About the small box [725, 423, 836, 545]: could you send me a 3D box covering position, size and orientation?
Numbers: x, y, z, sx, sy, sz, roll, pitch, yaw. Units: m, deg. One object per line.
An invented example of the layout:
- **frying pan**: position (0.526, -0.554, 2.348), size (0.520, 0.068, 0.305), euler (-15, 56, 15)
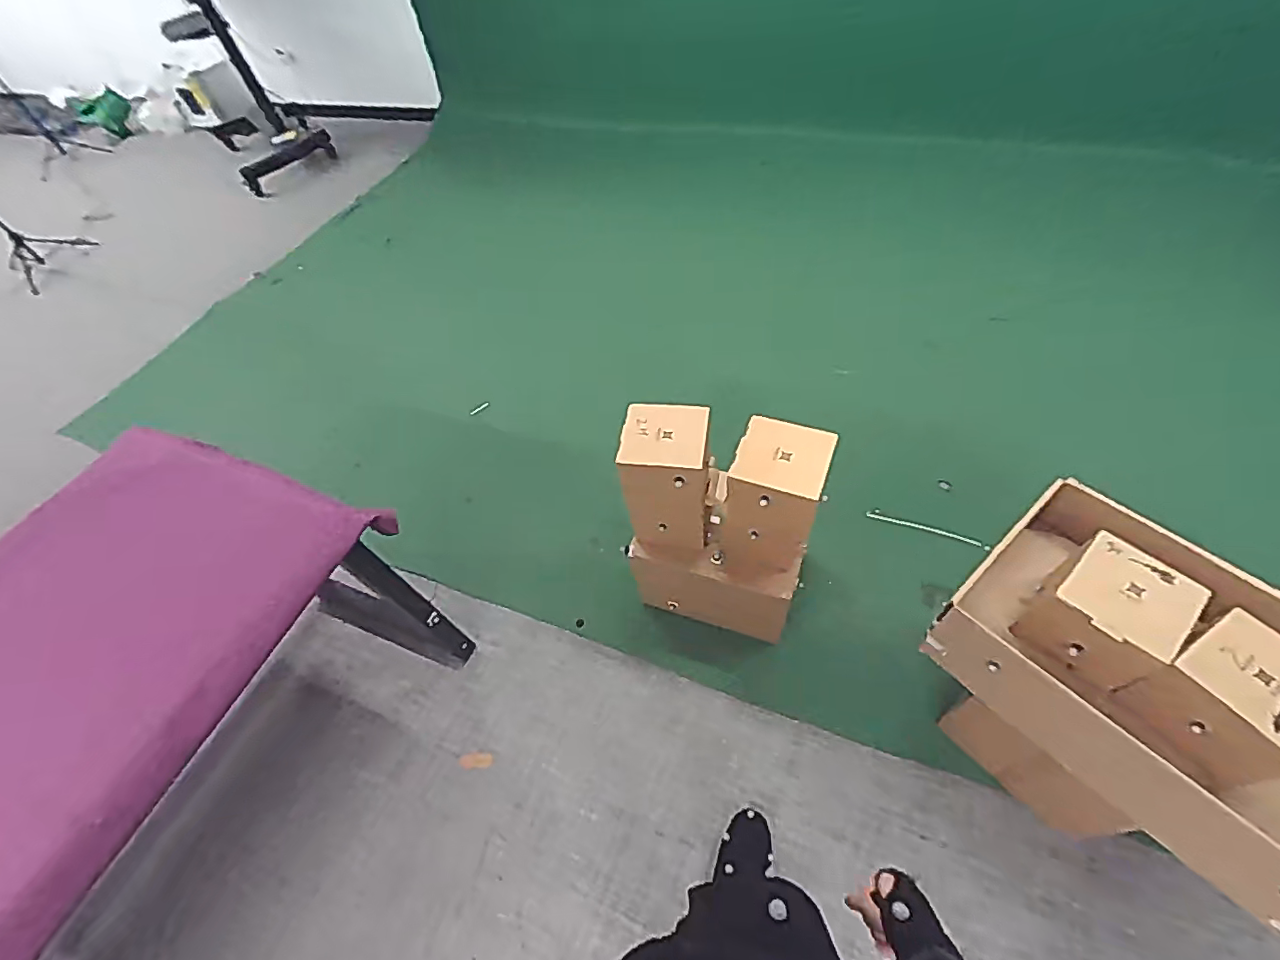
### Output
- **small box**: position (0.284, 0.013, 1.111), size (0.179, 0.176, 0.168), euler (16, 58, 20)
